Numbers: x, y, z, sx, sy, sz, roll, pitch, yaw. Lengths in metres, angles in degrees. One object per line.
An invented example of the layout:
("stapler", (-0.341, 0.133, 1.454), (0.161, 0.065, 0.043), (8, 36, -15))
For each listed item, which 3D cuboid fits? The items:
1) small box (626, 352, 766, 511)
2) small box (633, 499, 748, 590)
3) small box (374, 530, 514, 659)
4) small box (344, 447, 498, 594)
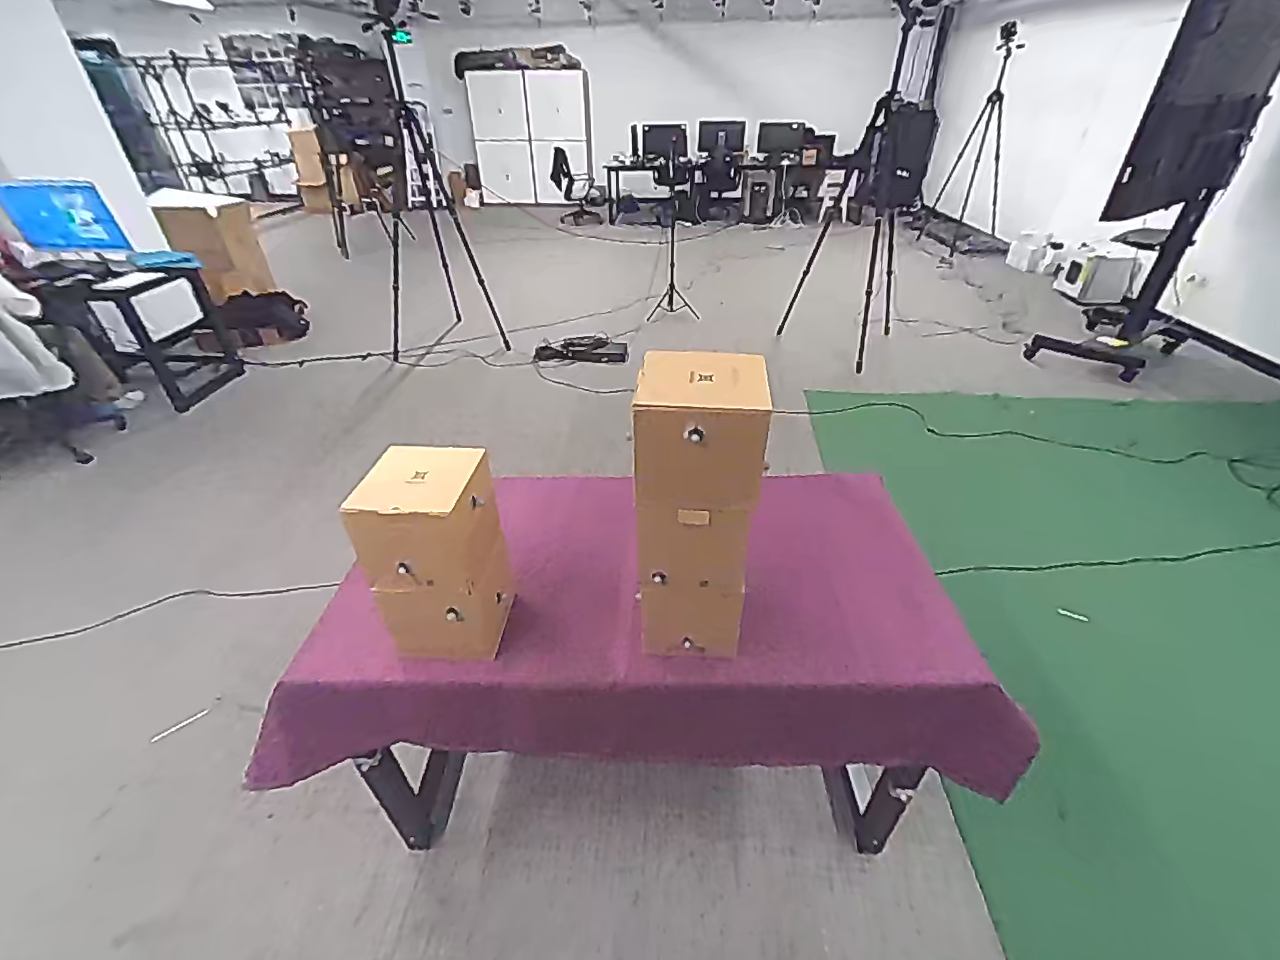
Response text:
("small box", (0.081, -0.071, 0.774), (0.179, 0.176, 0.168), (4, 37, 7))
("small box", (0.084, 0.058, 0.874), (0.168, 0.176, 0.179), (2, 35, 6))
("small box", (-0.336, 0.203, 0.972), (0.179, 0.176, 0.168), (1, 35, 3))
("small box", (-0.342, 0.064, 0.886), (0.168, 0.176, 0.179), (2, 36, 4))
